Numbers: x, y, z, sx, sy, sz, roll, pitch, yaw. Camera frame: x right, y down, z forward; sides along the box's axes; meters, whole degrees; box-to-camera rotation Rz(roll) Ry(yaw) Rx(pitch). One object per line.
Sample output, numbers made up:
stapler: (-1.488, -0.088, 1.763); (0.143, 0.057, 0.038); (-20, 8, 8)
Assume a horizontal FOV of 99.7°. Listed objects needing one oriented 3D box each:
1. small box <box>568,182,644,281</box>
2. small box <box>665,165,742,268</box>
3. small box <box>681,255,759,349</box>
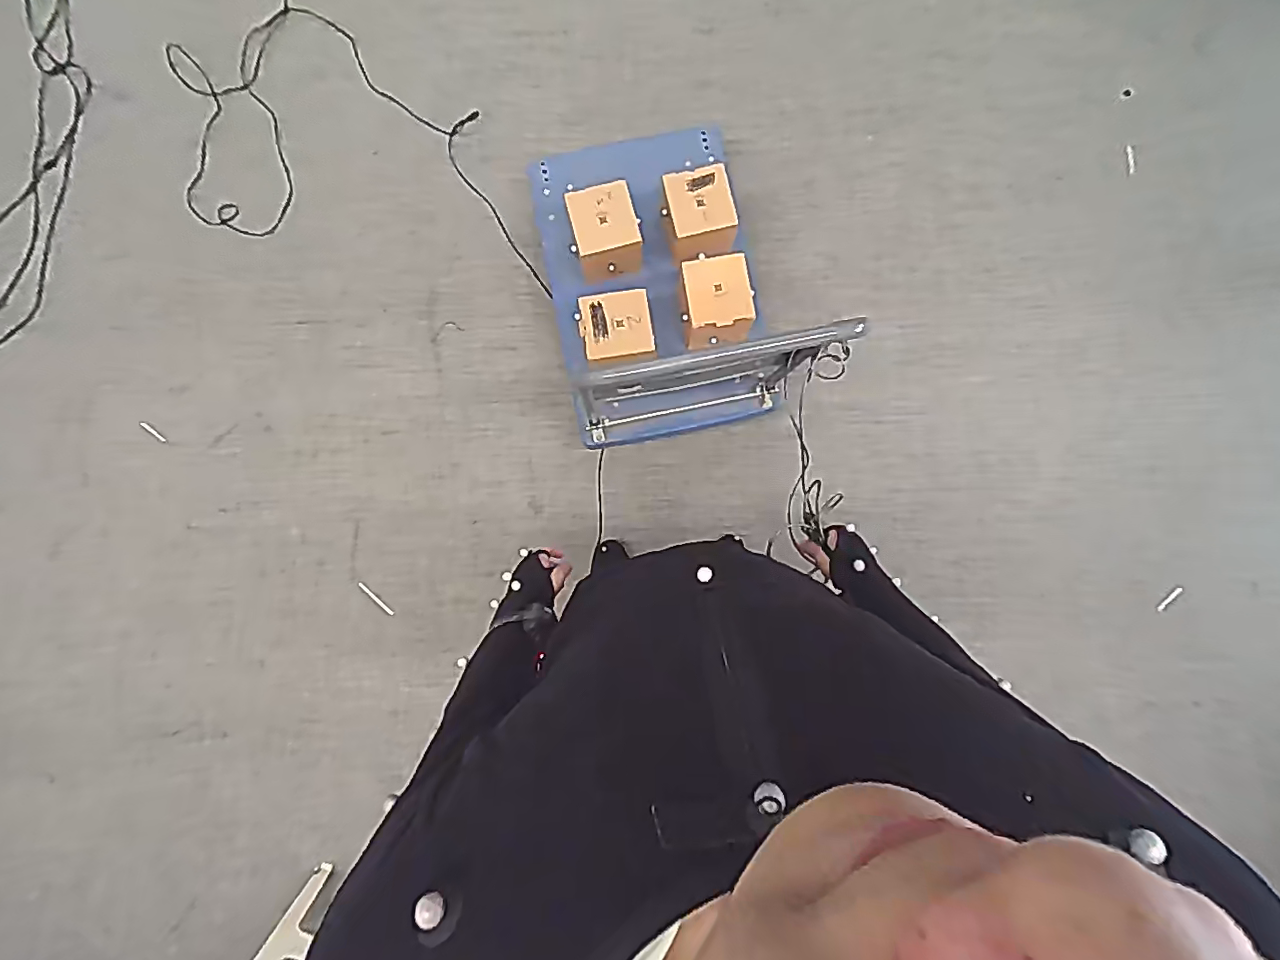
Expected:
small box: (-0.087, -0.660, 1.465); (0.168, 0.176, 0.179); (-15, 85, -2)
small box: (0.165, -0.709, 1.467); (0.168, 0.176, 0.179); (-13, 86, 0)
small box: (0.207, -0.471, 1.448); (0.168, 0.176, 0.179); (-10, 85, 0)
